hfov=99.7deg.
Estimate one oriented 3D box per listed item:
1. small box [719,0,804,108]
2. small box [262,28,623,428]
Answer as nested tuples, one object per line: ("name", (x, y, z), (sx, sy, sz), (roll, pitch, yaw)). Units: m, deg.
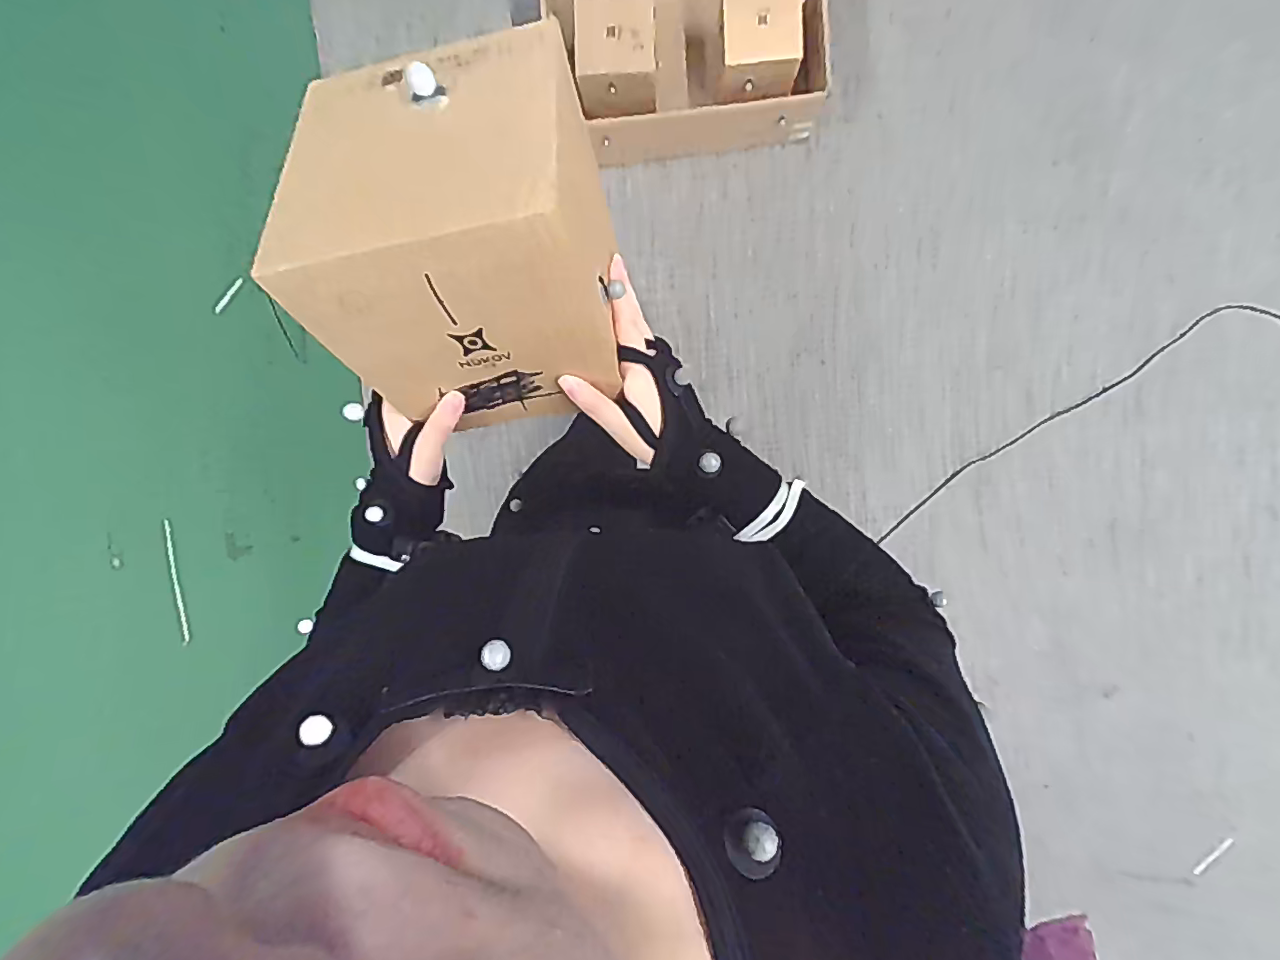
("small box", (0.269, -0.973, 1.220), (0.168, 0.176, 0.179), (-3, 96, 4))
("small box", (-0.109, -0.160, 0.381), (0.168, 0.179, 0.176), (-8, 64, 7))
